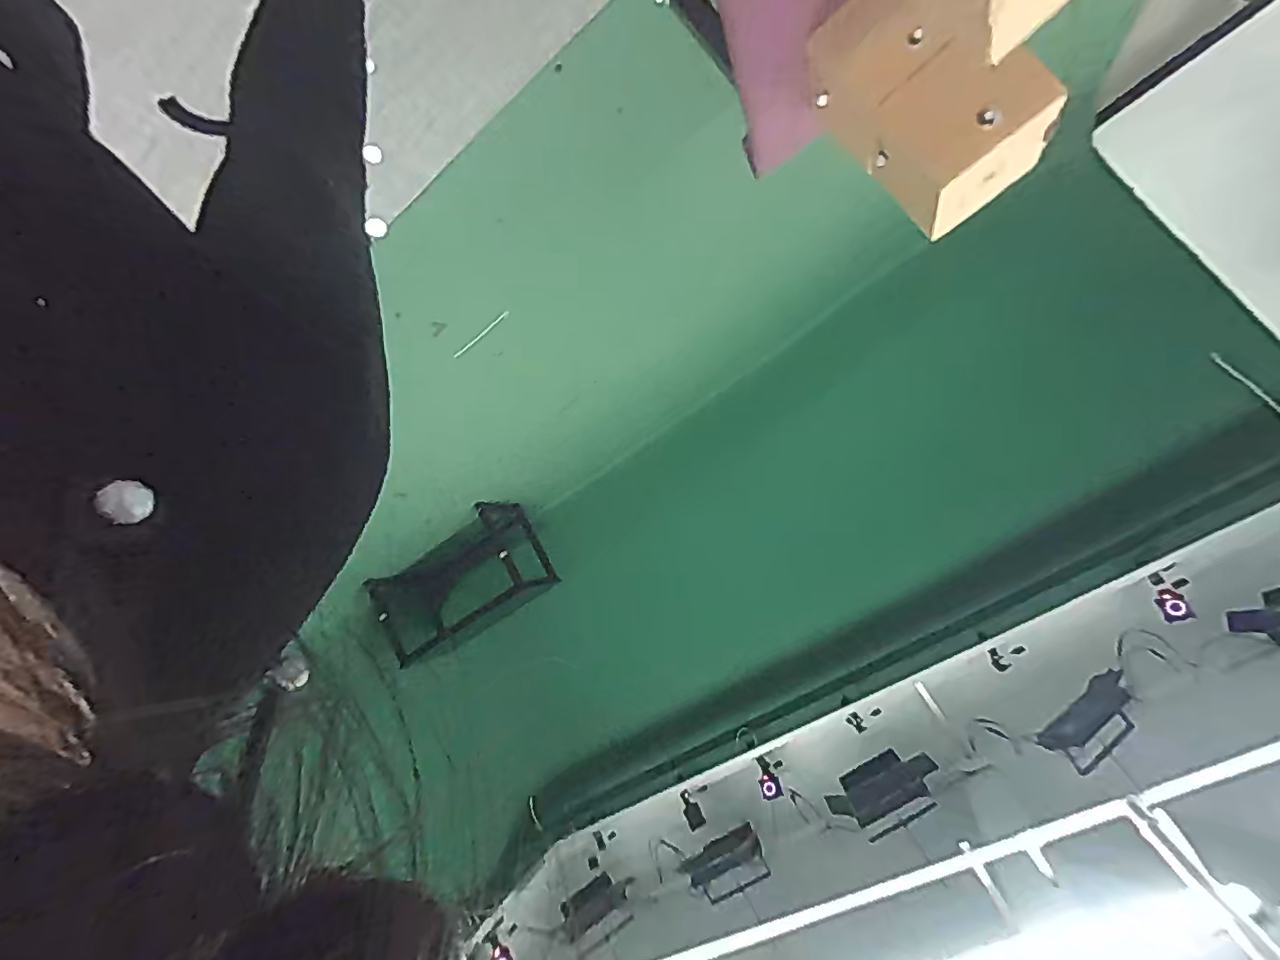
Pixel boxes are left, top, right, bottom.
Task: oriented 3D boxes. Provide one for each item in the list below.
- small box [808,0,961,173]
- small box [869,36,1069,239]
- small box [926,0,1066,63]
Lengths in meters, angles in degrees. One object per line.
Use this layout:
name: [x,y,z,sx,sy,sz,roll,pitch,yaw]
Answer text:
small box: [0.390,-0.646,0.851,0.179,0.176,0.168,-35,165,15]
small box: [0.471,-0.512,0.806,0.179,0.176,0.168,-36,164,17]
small box: [0.330,-0.526,0.452,0.179,0.176,0.168,-38,164,25]
